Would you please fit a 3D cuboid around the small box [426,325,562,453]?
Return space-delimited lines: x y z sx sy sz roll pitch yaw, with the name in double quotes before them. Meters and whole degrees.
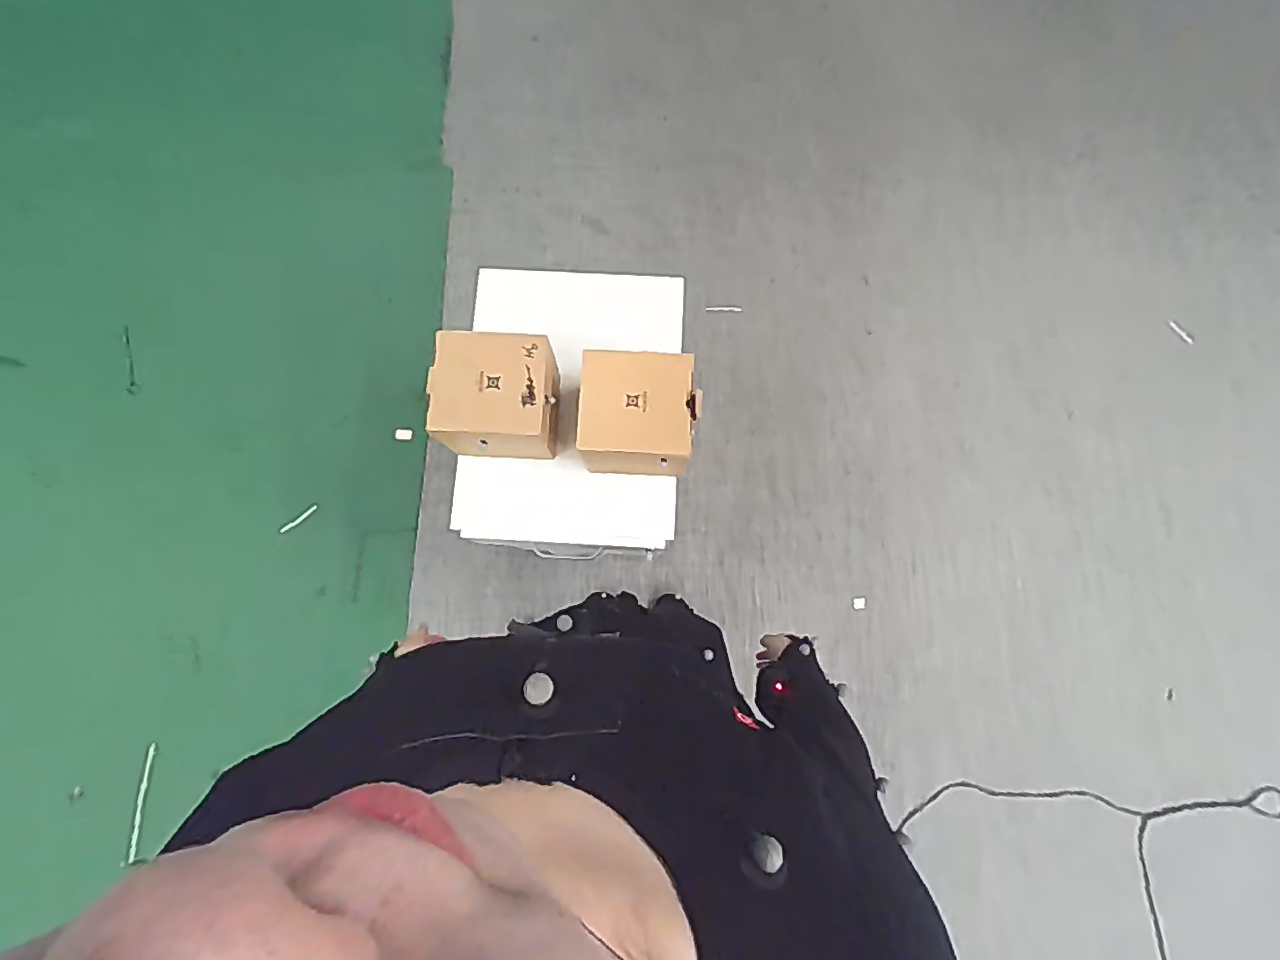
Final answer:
"small box" -0.233 -0.143 0.905 0.179 0.176 0.168 2 80 0
